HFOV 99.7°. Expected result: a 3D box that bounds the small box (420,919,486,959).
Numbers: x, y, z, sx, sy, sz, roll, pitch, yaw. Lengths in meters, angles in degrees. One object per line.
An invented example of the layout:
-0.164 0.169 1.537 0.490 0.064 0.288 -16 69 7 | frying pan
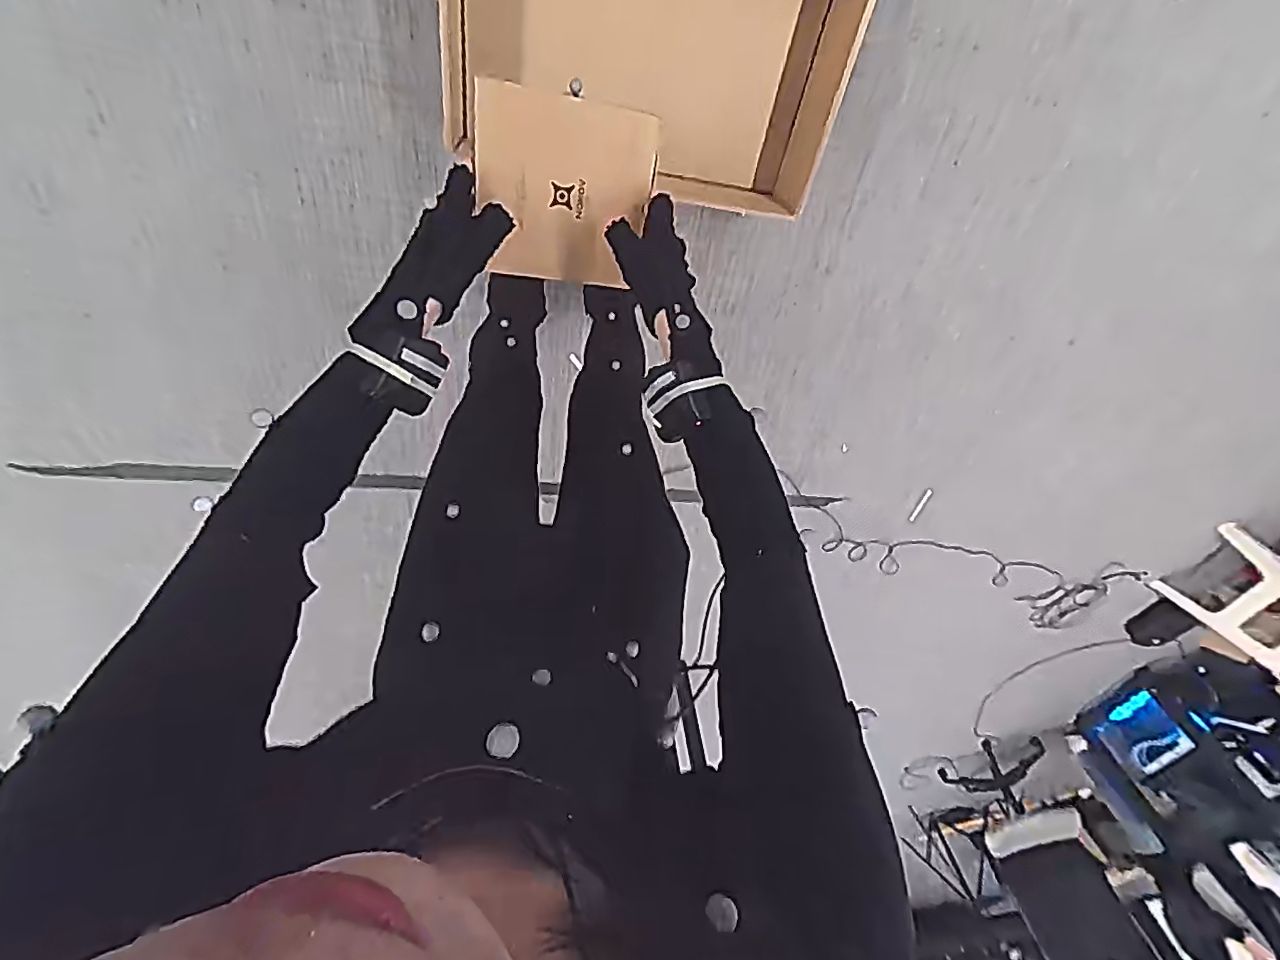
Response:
-0.545 1.415 1.582 0.179 0.176 0.168 -1 130 -10 | small box

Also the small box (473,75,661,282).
-0.094 -0.336 0.605 0.179 0.176 0.168 0 125 -16 | small box
